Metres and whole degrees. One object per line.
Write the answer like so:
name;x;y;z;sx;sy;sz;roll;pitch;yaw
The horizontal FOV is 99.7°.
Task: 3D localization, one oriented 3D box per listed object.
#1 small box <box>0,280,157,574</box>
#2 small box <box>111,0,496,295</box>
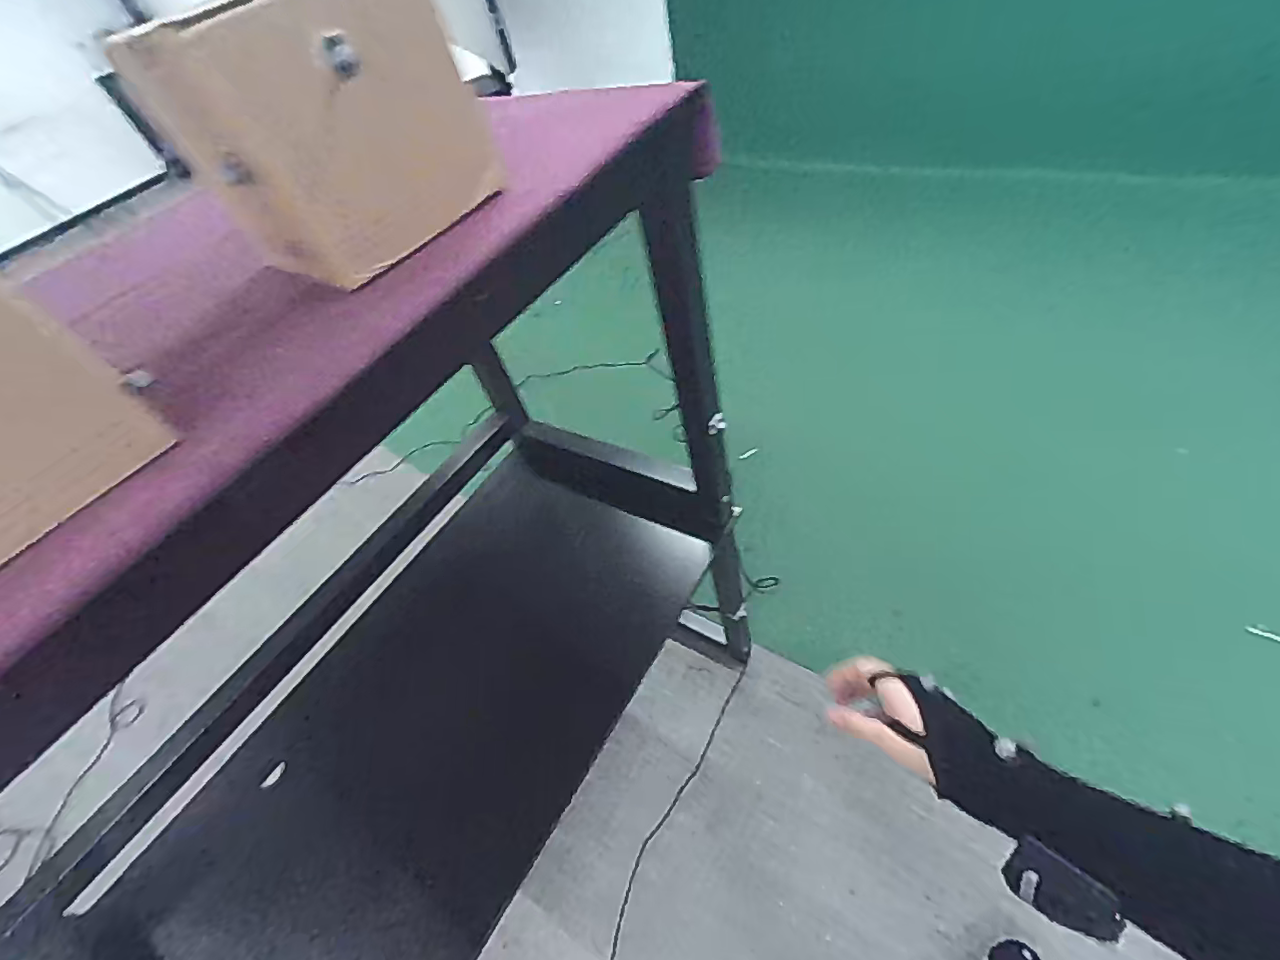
small box;-0.418;-0.042;0.291;0.168;0.176;0.179;24;62;32
small box;-0.254;-0.277;0.442;0.168;0.176;0.179;25;62;33
